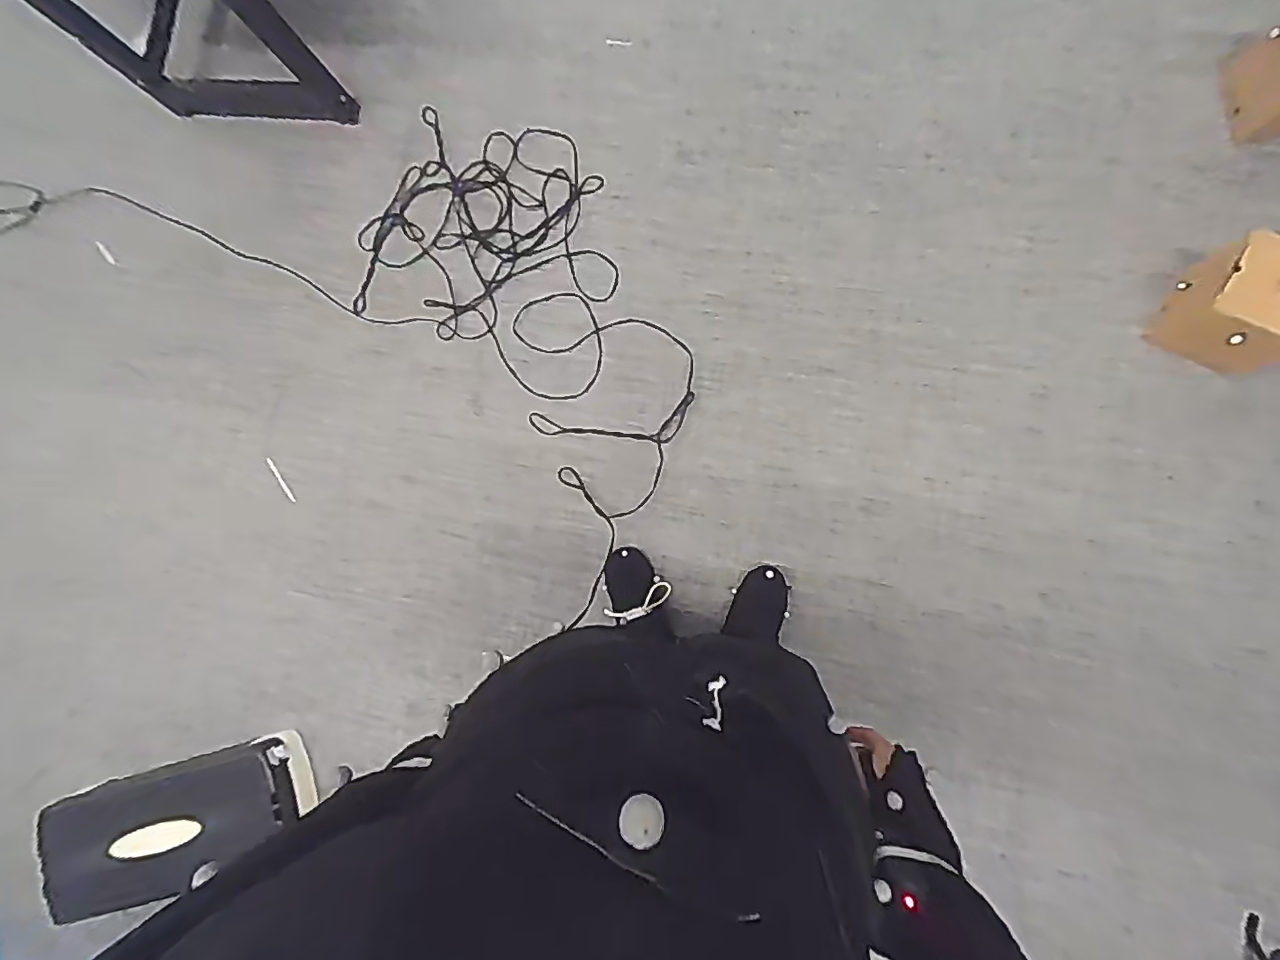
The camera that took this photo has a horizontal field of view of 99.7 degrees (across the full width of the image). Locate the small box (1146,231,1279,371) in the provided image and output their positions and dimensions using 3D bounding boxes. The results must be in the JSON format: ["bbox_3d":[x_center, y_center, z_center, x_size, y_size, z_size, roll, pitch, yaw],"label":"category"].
[{"bbox_3d":[1.128,-0.322,1.010,0.179,0.176,0.168,28,90,10],"label":"small box"}]
